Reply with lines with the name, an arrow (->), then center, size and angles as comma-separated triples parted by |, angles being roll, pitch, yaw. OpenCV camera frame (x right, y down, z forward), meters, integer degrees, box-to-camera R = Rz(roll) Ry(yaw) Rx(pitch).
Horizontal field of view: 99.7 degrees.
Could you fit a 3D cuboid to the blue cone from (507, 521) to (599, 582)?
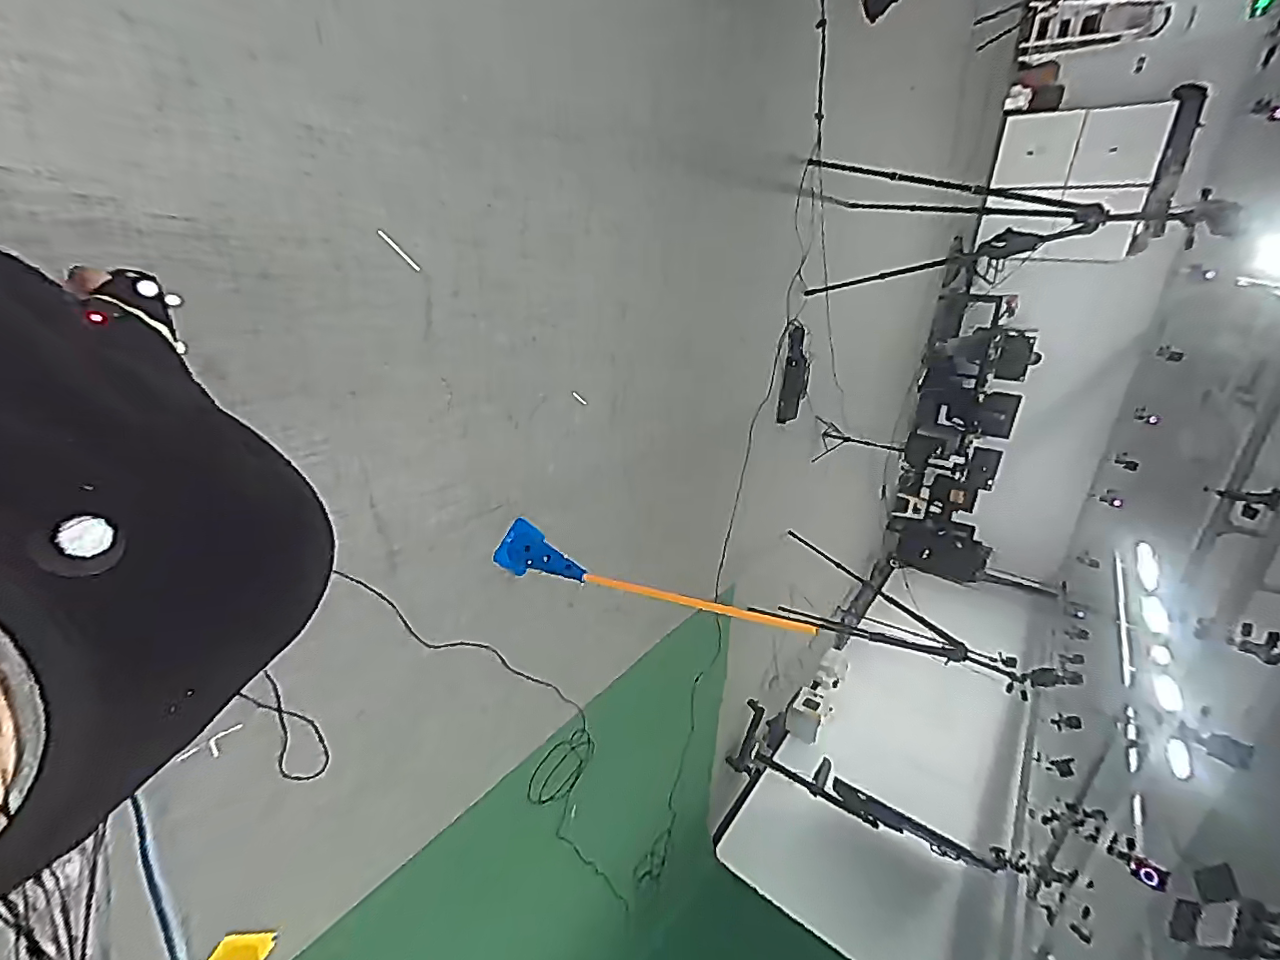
blue cone -> -0.313, 0.309, 2.064 | 0.193, 0.380, 0.192 | -63, 144, -15
